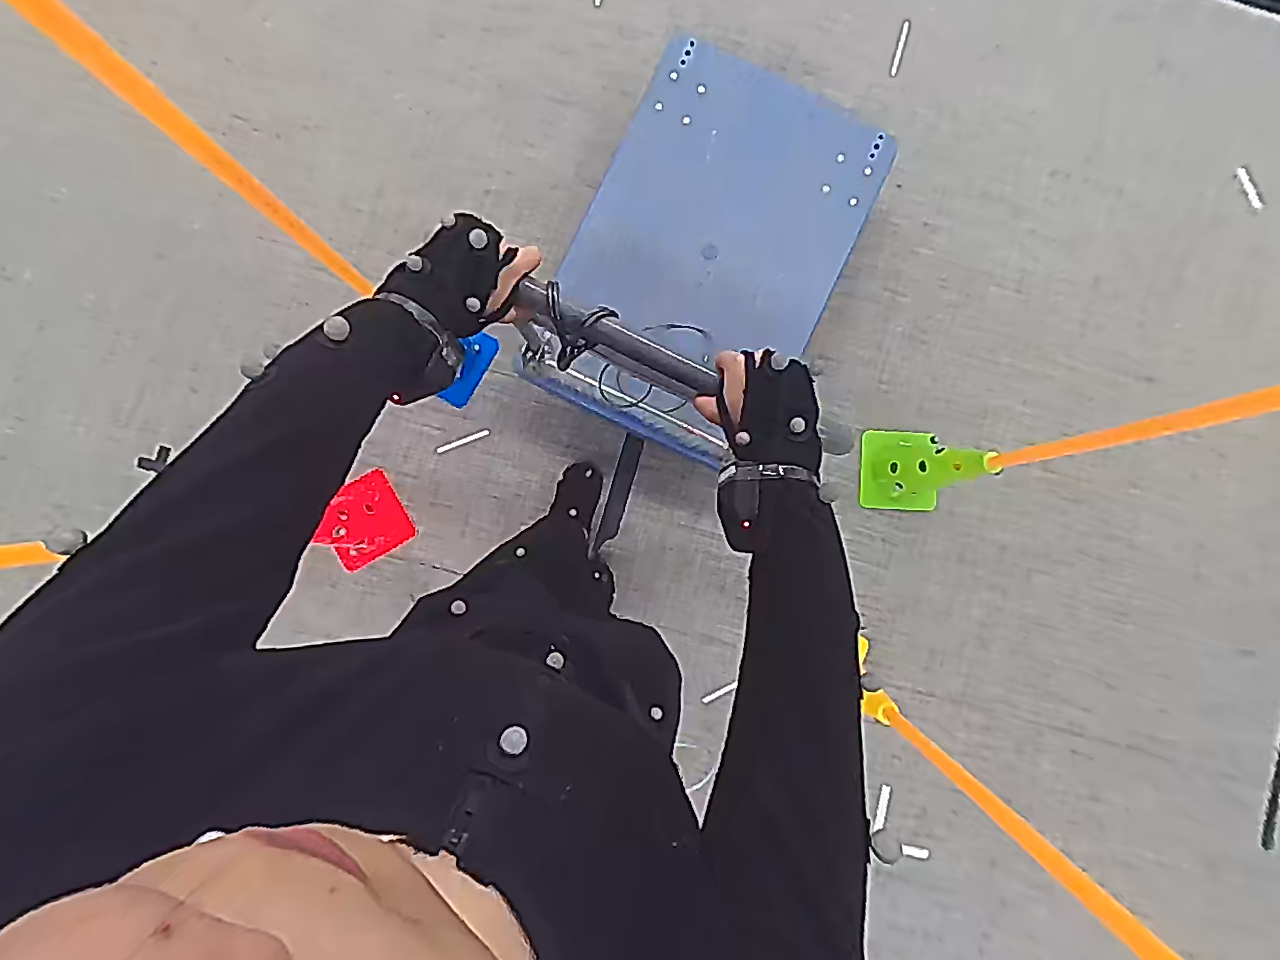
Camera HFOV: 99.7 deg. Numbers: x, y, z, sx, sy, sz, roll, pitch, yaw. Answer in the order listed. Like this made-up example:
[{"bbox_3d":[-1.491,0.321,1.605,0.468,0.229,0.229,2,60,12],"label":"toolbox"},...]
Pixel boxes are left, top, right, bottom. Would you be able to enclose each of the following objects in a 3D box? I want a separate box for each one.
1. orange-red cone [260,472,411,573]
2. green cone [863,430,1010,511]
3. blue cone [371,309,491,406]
[{"bbox_3d":[-0.673,0.095,1.145,0.199,0.360,0.198,-29,90,-4],"label":"orange-red cone"},{"bbox_3d":[0.669,-0.026,1.195,0.200,0.368,0.202,2,89,-2],"label":"green cone"},{"bbox_3d":[-0.480,-0.302,1.182,0.193,0.380,0.192,31,88,-1],"label":"blue cone"}]
